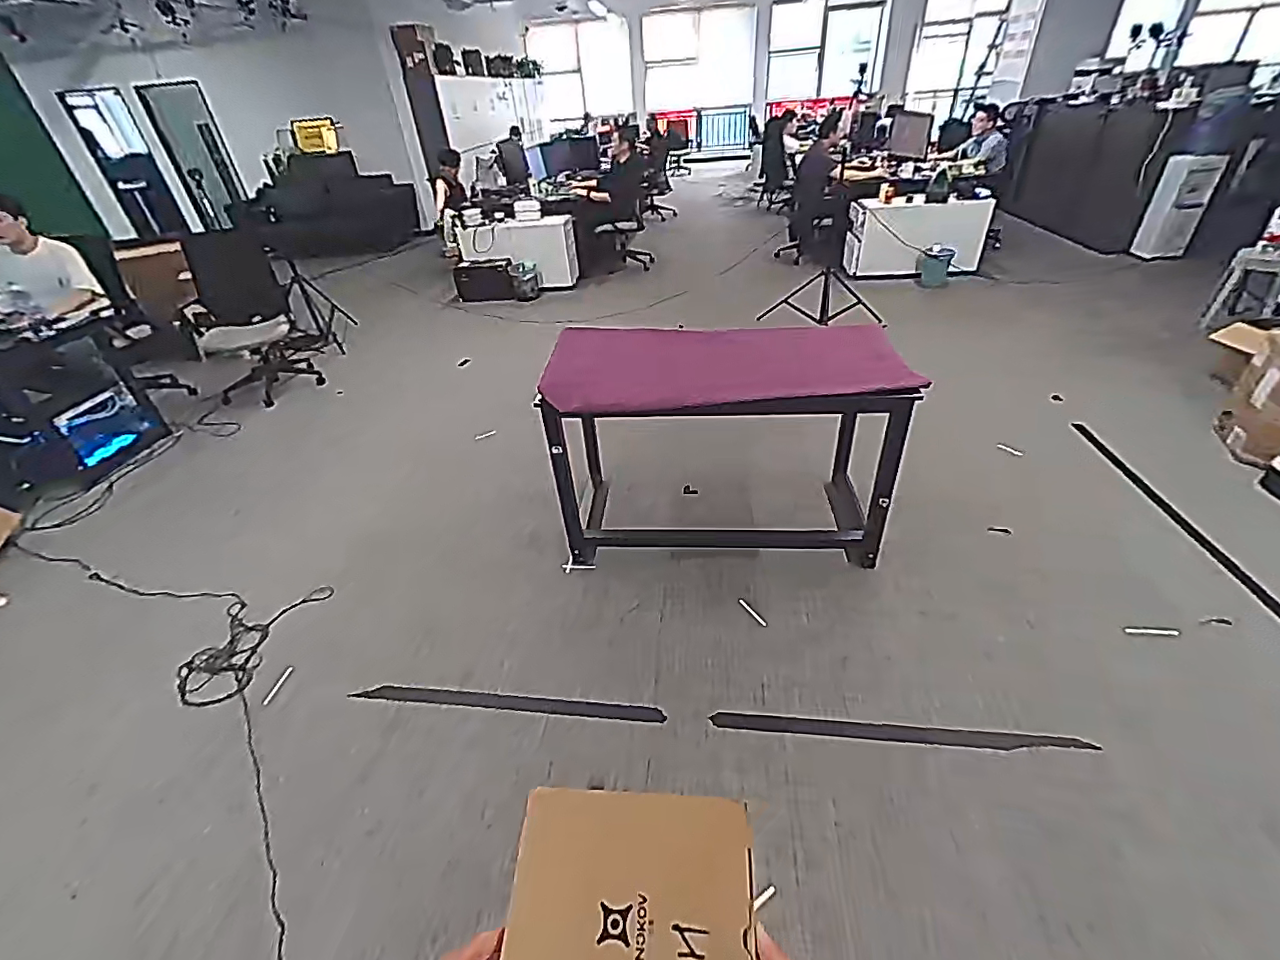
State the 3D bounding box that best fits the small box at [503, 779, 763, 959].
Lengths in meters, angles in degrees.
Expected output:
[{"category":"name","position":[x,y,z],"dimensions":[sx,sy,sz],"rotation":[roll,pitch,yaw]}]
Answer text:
[{"category":"small box","position":[0.005,0.351,0.430],"dimensions":[0.179,0.176,0.168],"rotation":[0,52,8]}]
